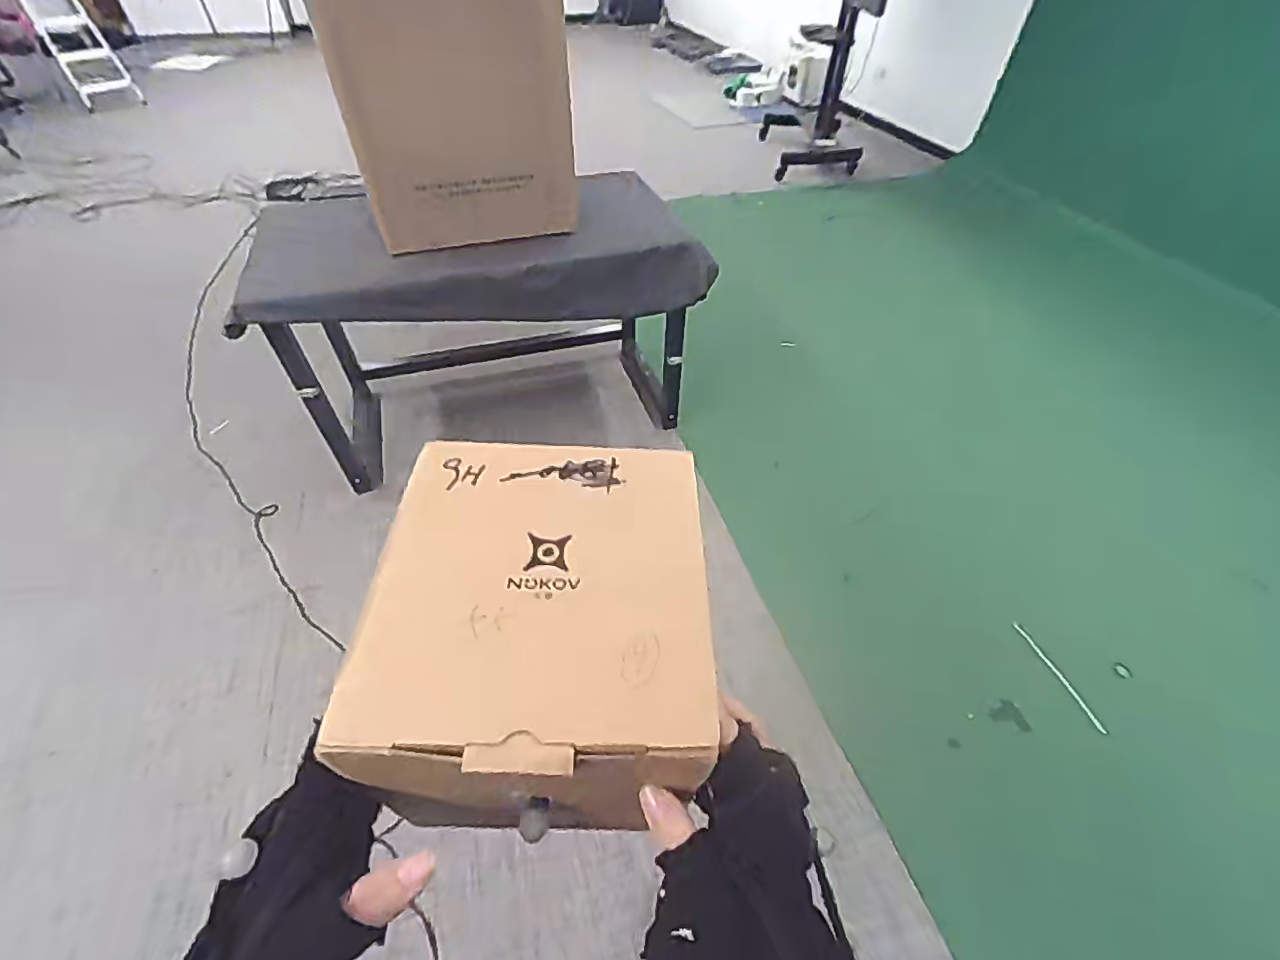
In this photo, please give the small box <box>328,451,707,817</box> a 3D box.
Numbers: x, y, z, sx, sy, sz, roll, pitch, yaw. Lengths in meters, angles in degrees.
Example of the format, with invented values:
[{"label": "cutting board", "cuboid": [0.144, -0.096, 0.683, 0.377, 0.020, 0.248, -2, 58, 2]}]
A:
[{"label": "small box", "cuboid": [-0.055, 0.102, 0.343, 0.168, 0.176, 0.179, 2, 49, -3]}]
